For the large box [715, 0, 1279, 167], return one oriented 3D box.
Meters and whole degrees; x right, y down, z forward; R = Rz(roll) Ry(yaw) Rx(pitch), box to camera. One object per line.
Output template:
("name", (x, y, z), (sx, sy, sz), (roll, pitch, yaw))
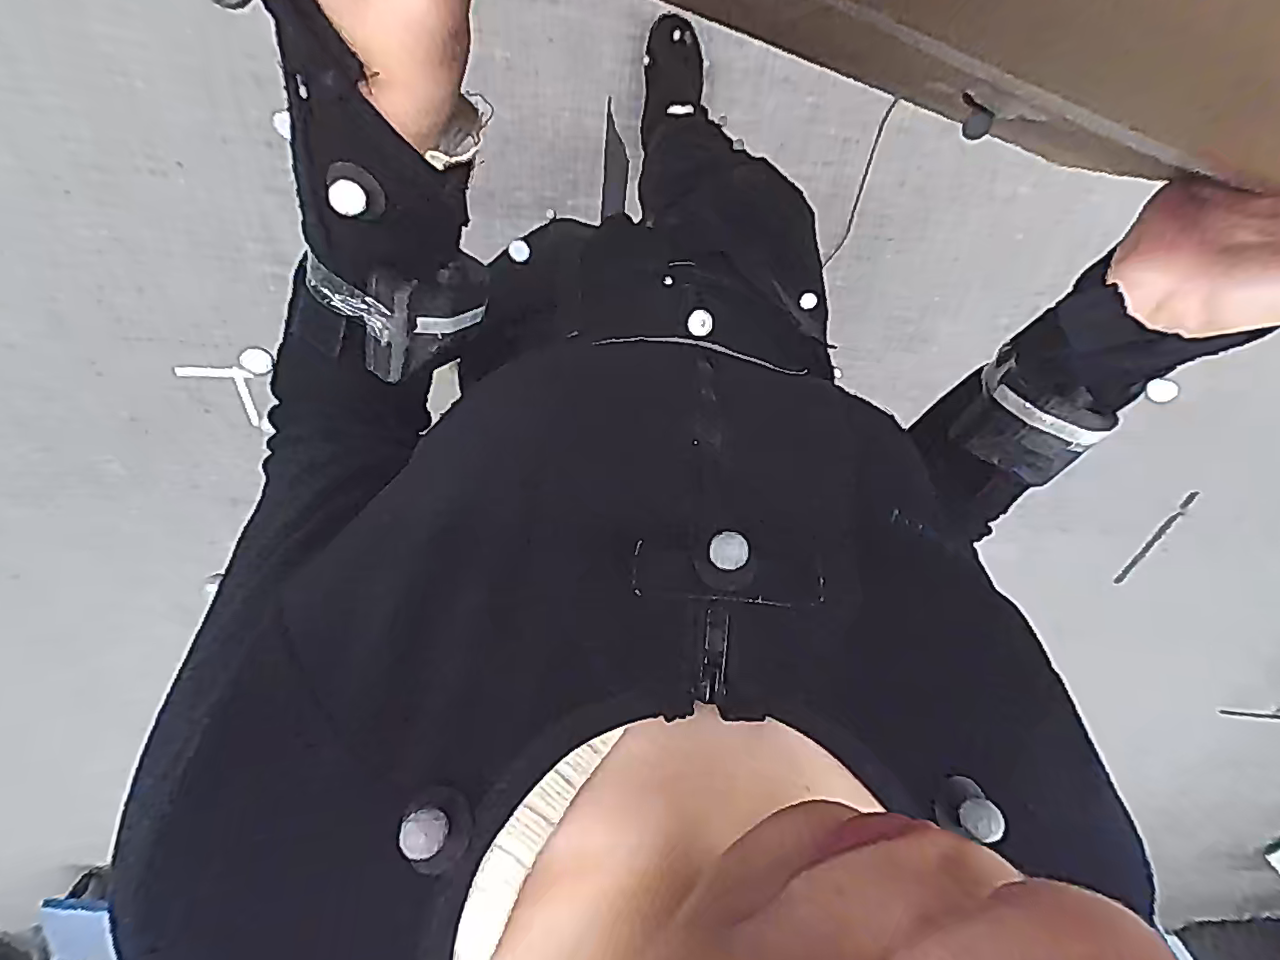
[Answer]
("large box", (0.136, -0.291, 0.106), (0.408, 0.320, 0.320), (9, 126, -13))
